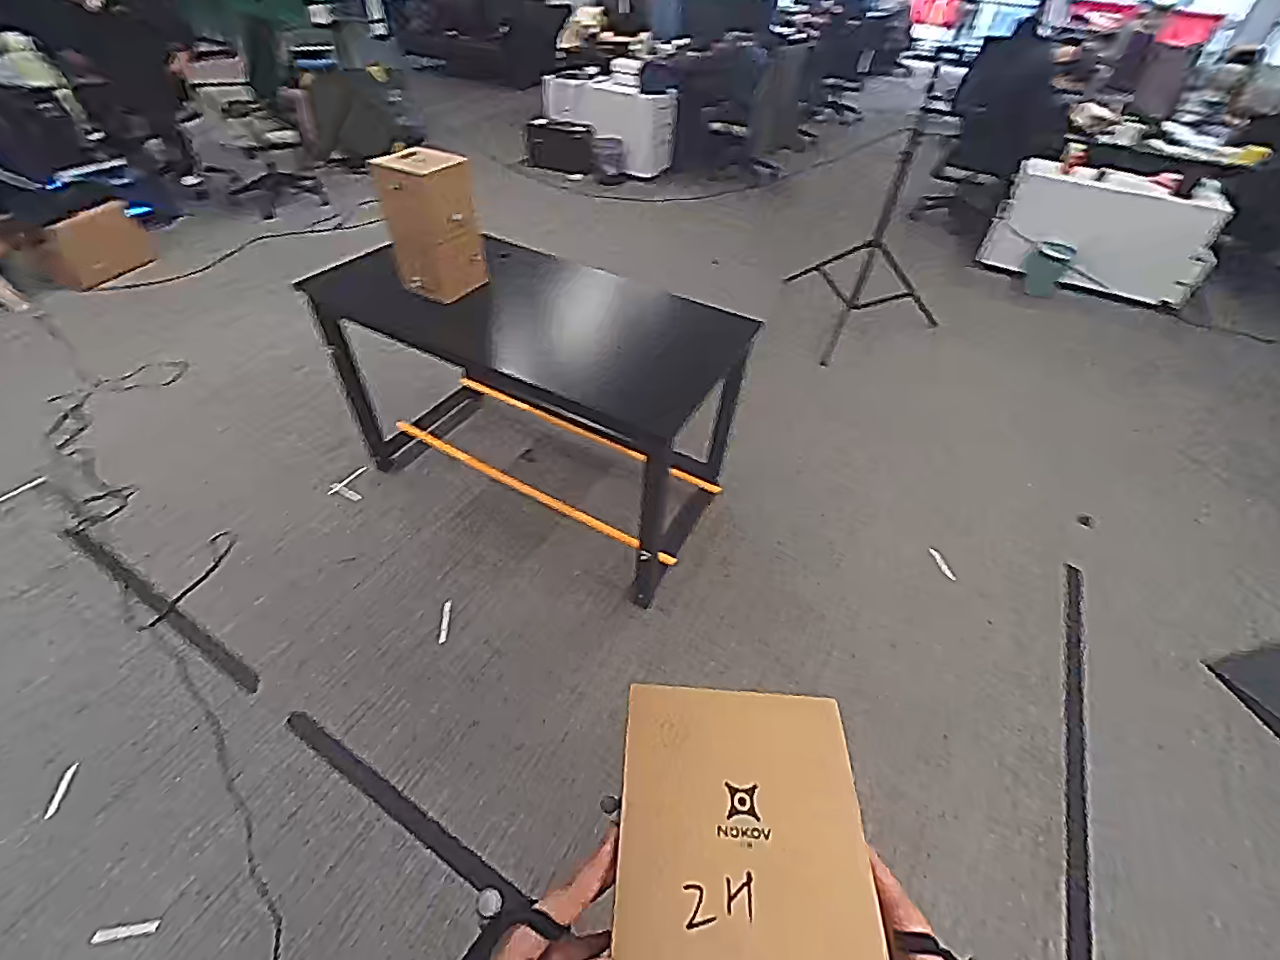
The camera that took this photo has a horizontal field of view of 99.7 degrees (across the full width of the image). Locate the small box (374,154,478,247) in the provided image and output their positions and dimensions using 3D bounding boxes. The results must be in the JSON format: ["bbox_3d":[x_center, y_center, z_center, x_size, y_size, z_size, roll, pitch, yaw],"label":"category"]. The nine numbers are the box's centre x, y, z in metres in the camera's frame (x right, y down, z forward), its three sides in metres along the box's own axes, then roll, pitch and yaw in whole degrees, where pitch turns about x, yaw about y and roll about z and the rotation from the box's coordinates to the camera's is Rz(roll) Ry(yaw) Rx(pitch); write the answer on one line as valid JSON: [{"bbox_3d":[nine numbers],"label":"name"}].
[{"bbox_3d":[-0.552,-0.732,1.417,0.179,0.176,0.168,21,48,16],"label":"small box"}]

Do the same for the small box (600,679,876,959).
[{"bbox_3d":[0.058,0.282,0.428,0.168,0.176,0.179,3,45,0],"label":"small box"}]

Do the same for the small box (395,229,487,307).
[{"bbox_3d":[-0.555,-0.619,1.538,0.168,0.176,0.179,22,49,18],"label":"small box"}]
